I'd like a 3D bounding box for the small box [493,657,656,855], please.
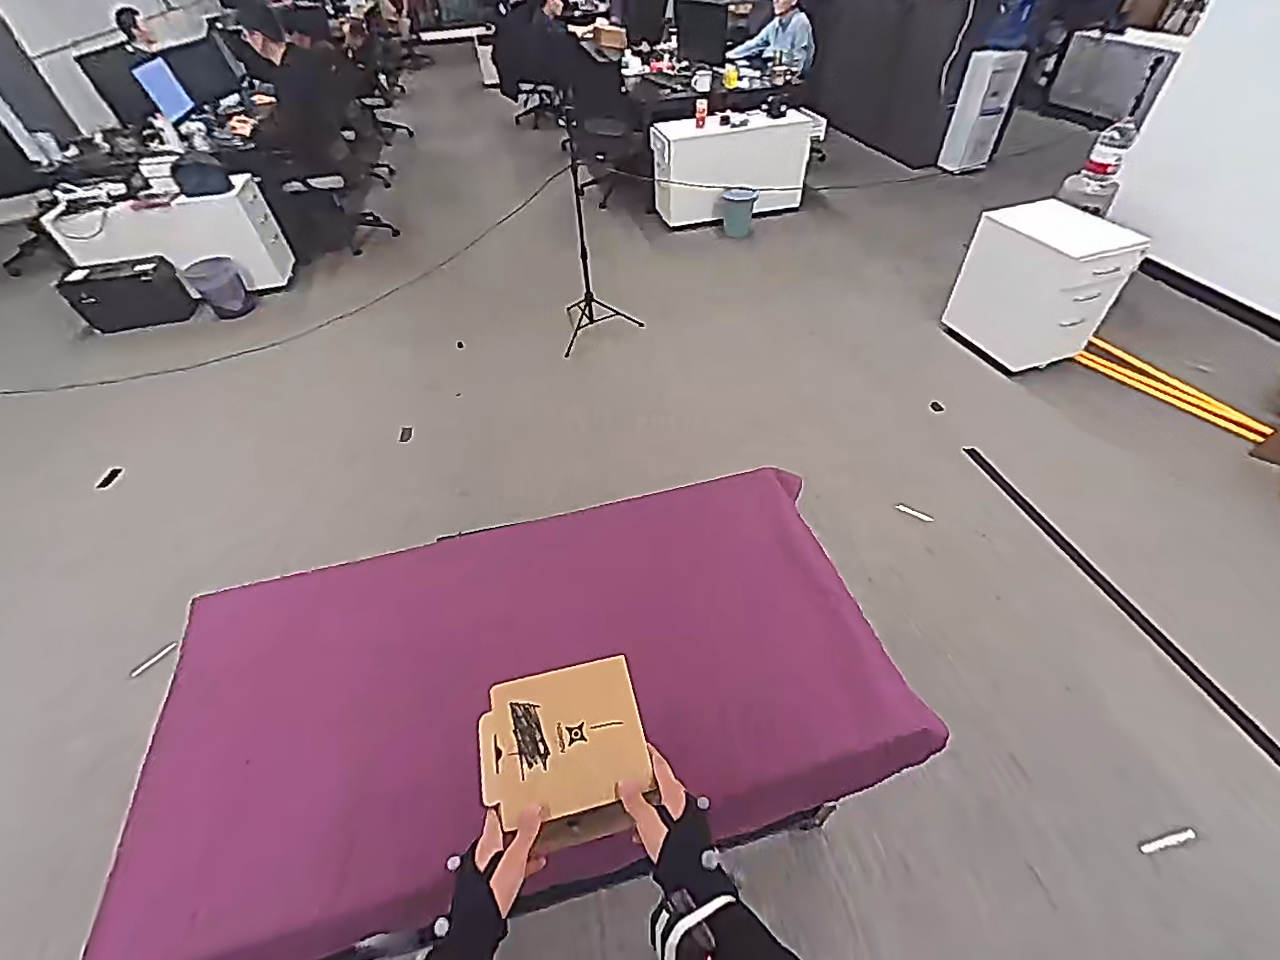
[{"bbox_3d":[-0.084,0.358,0.700,0.179,0.176,0.168,-9,48,-11],"label":"small box"}]
